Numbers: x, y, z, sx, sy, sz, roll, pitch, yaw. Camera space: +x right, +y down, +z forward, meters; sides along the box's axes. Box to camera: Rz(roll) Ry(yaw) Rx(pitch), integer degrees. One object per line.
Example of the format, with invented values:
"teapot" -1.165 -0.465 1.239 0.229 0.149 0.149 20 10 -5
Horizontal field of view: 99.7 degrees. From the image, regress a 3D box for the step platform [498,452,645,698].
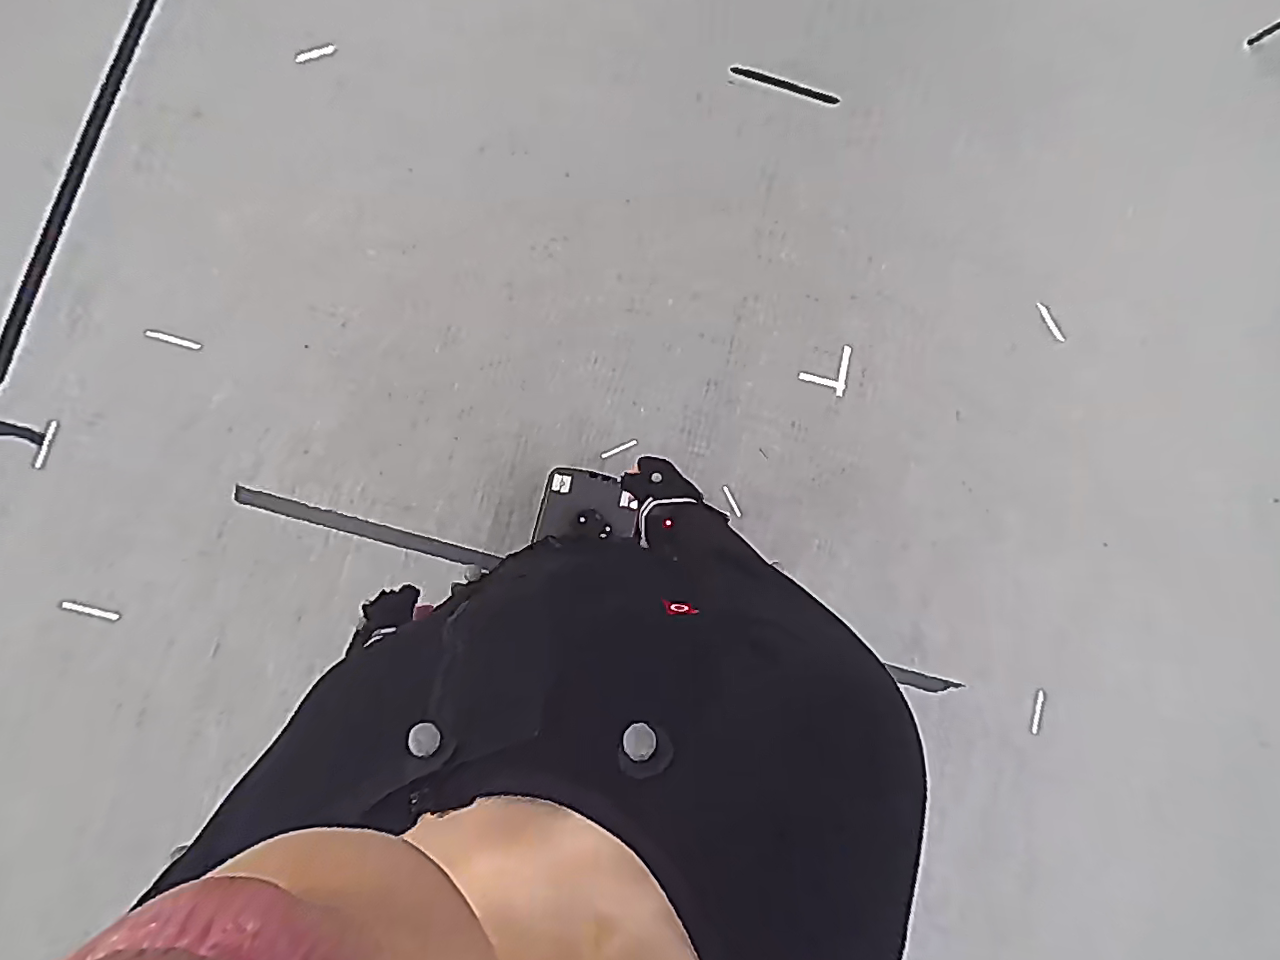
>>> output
"step platform" -0.192 0.265 1.568 0.286 0.204 0.684 14 83 -4
